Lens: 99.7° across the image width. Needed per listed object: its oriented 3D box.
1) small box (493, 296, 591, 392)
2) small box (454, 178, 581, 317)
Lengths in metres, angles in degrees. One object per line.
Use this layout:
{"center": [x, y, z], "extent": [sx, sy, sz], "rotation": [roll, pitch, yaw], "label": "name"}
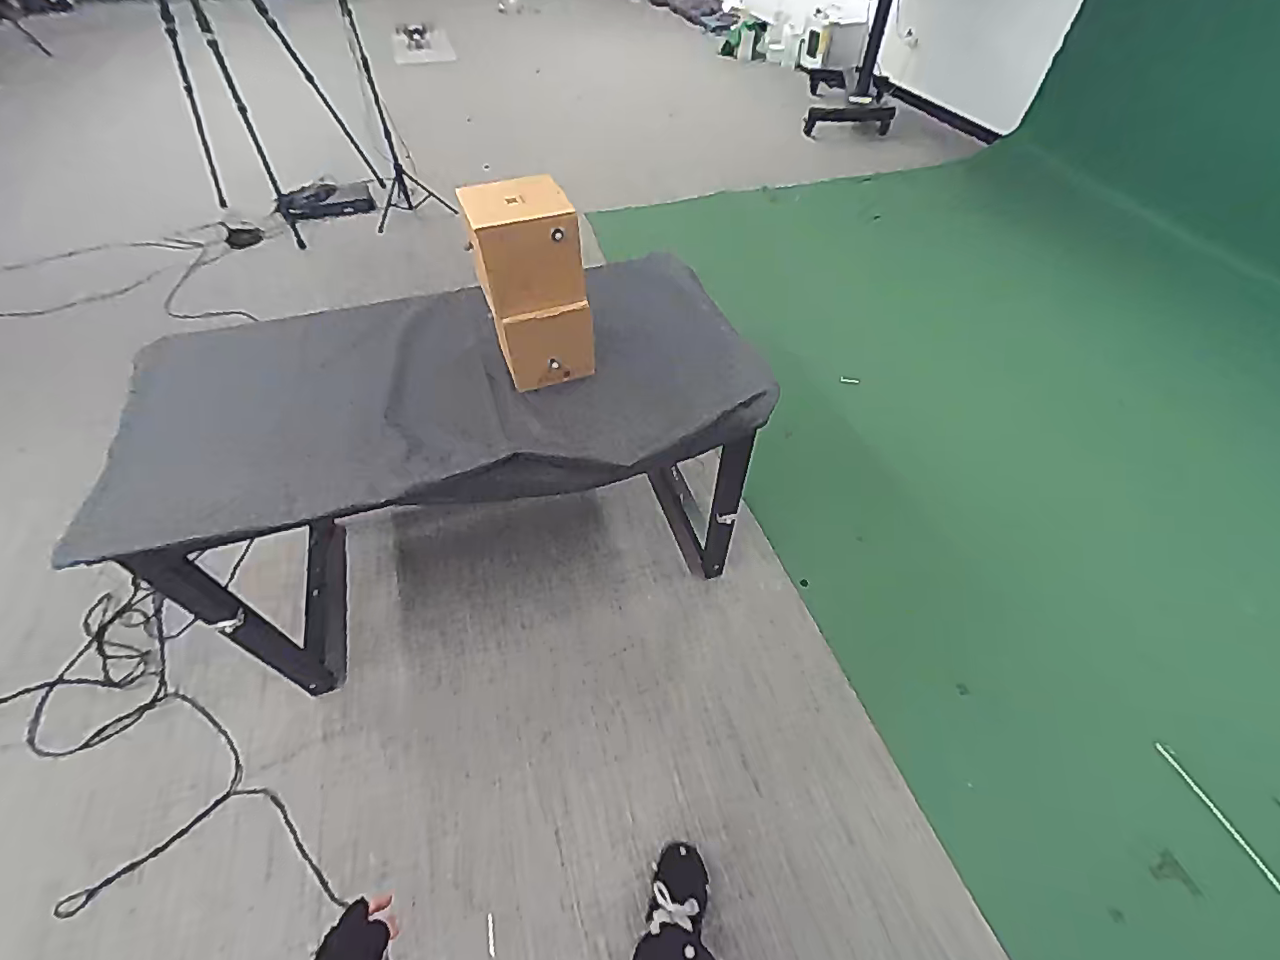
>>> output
{"center": [-0.205, -0.308, 1.101], "extent": [0.168, 0.176, 0.179], "rotation": [-17, 53, -14], "label": "small box"}
{"center": [-0.216, -0.418, 0.980], "extent": [0.179, 0.176, 0.168], "rotation": [-17, 52, -15], "label": "small box"}
